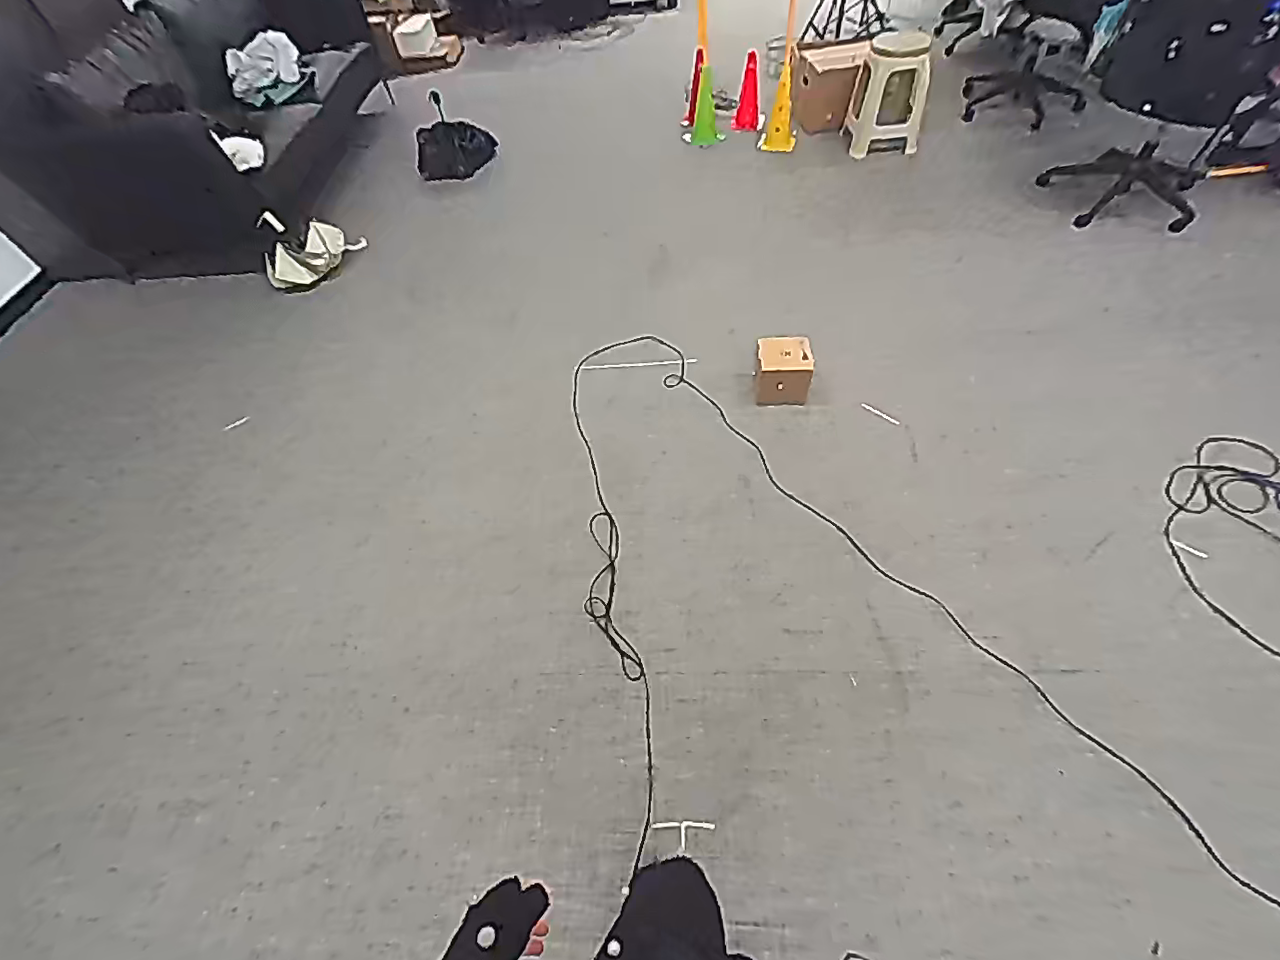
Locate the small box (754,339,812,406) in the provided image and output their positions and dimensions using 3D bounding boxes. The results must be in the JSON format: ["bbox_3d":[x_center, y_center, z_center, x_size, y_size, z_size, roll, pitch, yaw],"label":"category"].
[{"bbox_3d":[0.496,-0.375,1.908,0.179,0.176,0.168,-1,55,5],"label":"small box"}]
